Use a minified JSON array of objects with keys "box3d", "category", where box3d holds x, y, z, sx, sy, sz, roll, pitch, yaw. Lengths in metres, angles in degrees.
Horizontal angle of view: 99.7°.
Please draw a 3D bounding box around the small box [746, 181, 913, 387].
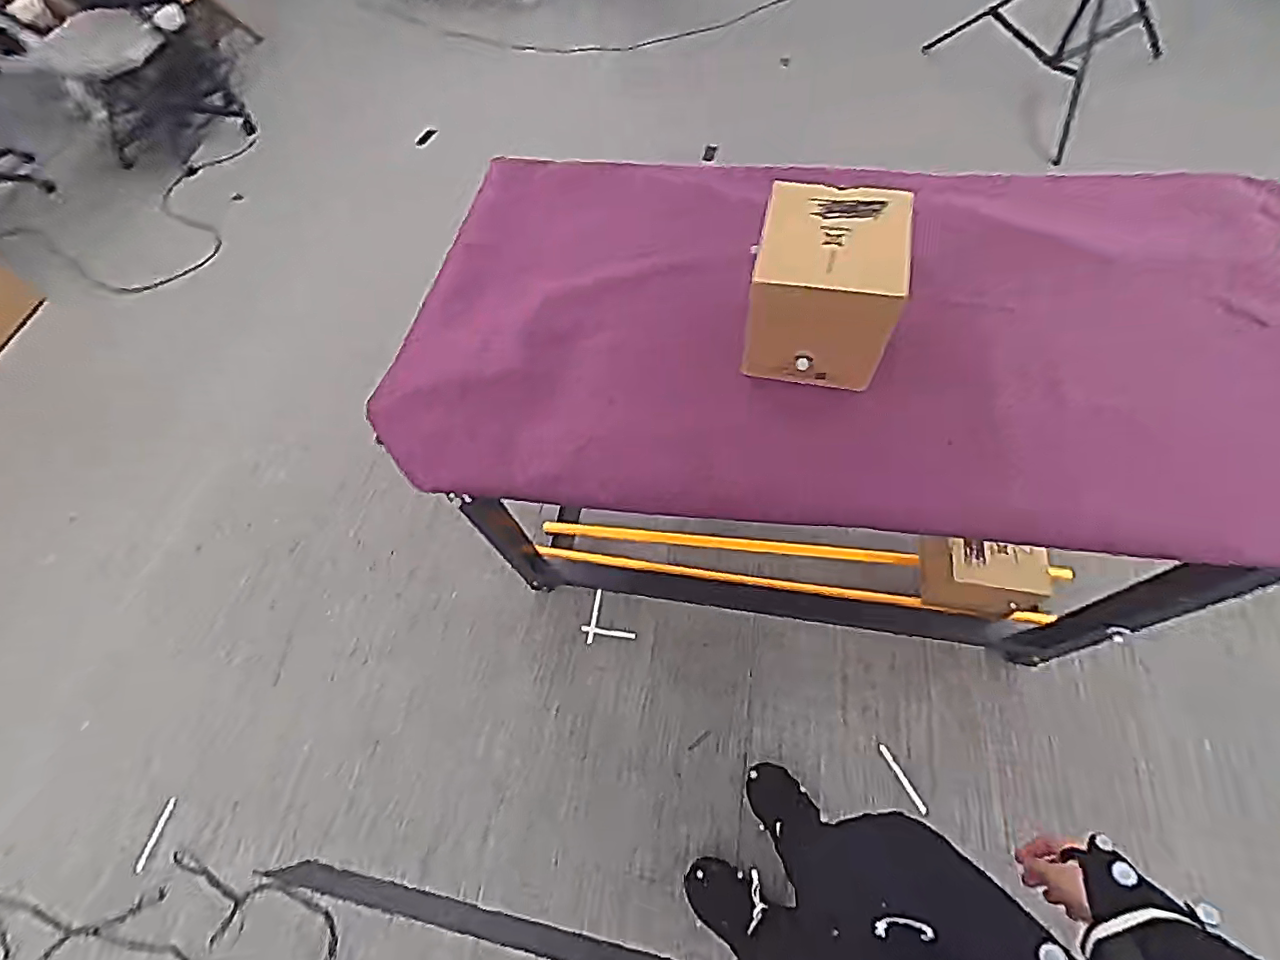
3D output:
[{"box3d":[0.235,-0.248,0.697,0.168,0.176,0.179,10,64,11],"category":"small box"}]
